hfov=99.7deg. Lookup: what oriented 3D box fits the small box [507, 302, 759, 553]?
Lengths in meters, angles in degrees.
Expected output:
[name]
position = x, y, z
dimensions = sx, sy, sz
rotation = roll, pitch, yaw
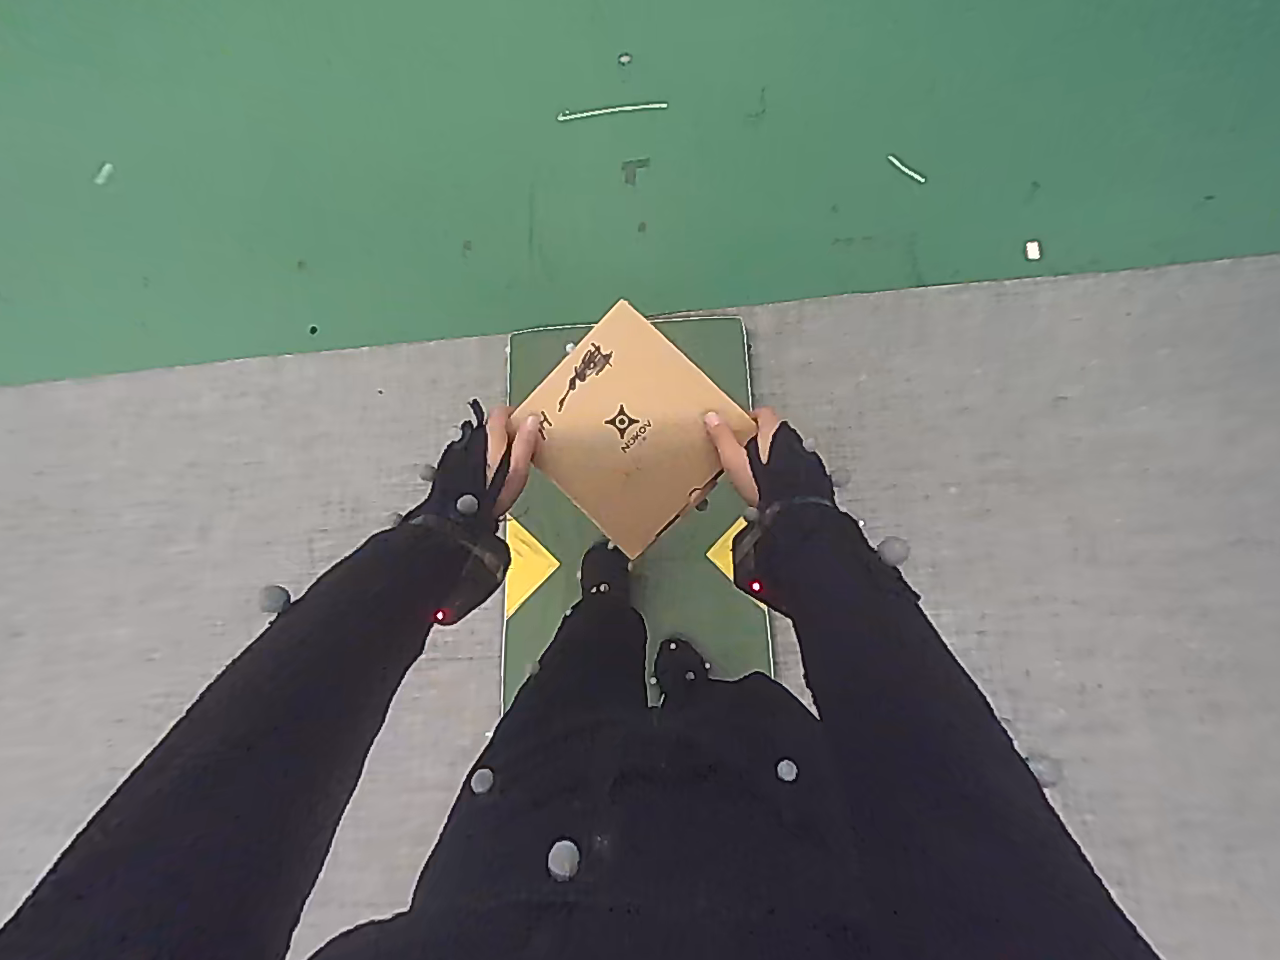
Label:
[small box]
position = -0.002, -0.048, 0.573
dimensions = 0.179, 0.176, 0.168
rotation = 45, 92, 4
